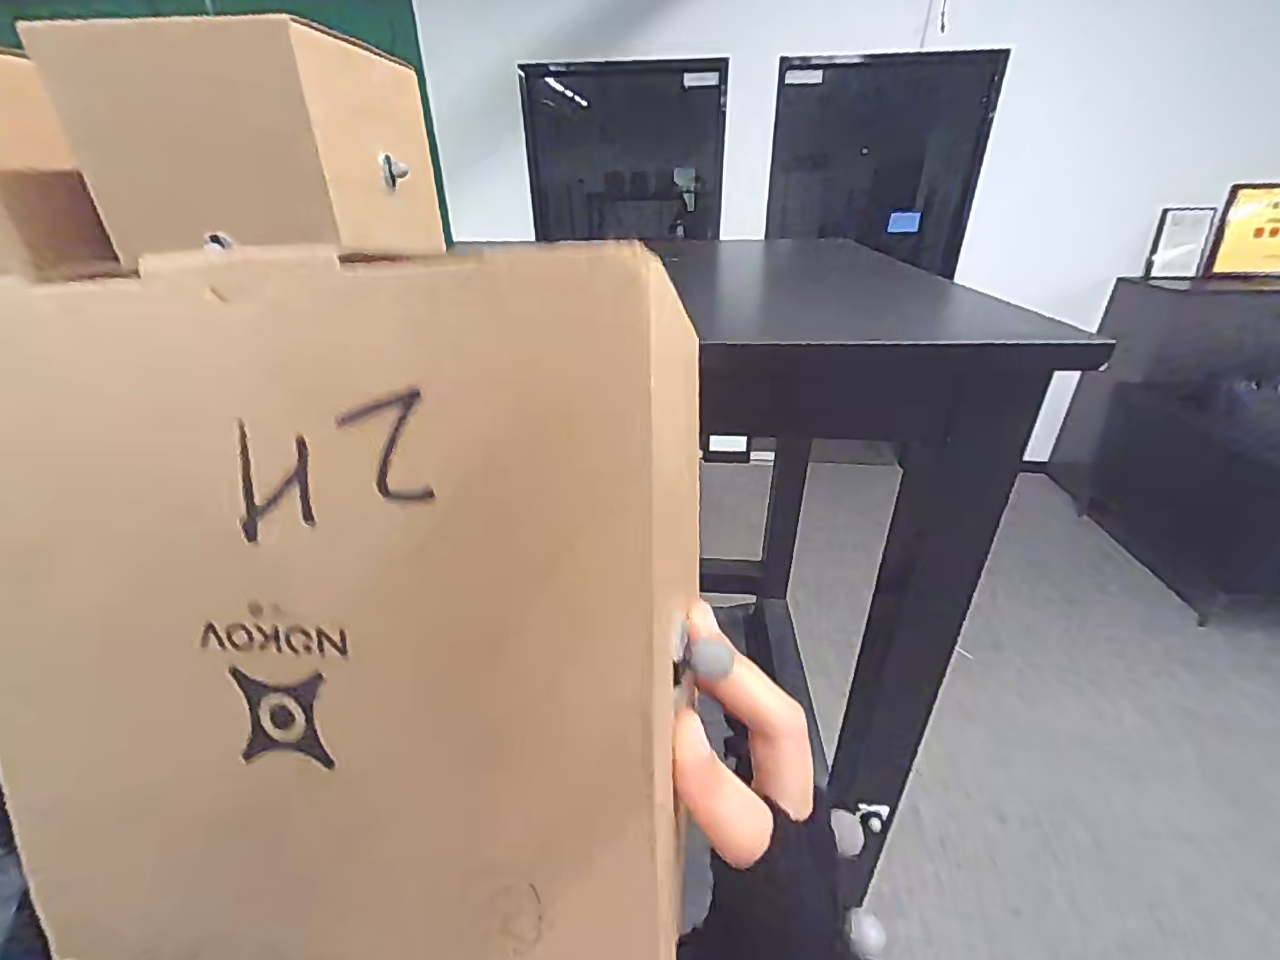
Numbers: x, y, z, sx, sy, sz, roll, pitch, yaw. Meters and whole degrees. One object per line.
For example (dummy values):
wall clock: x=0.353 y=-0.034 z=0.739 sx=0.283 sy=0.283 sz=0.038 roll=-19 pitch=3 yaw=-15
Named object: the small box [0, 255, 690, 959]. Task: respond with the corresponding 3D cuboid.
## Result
small box: x=-0.068 y=0.029 z=0.203 sx=0.168 sy=0.179 sz=0.176 roll=0 pitch=8 yaw=8
